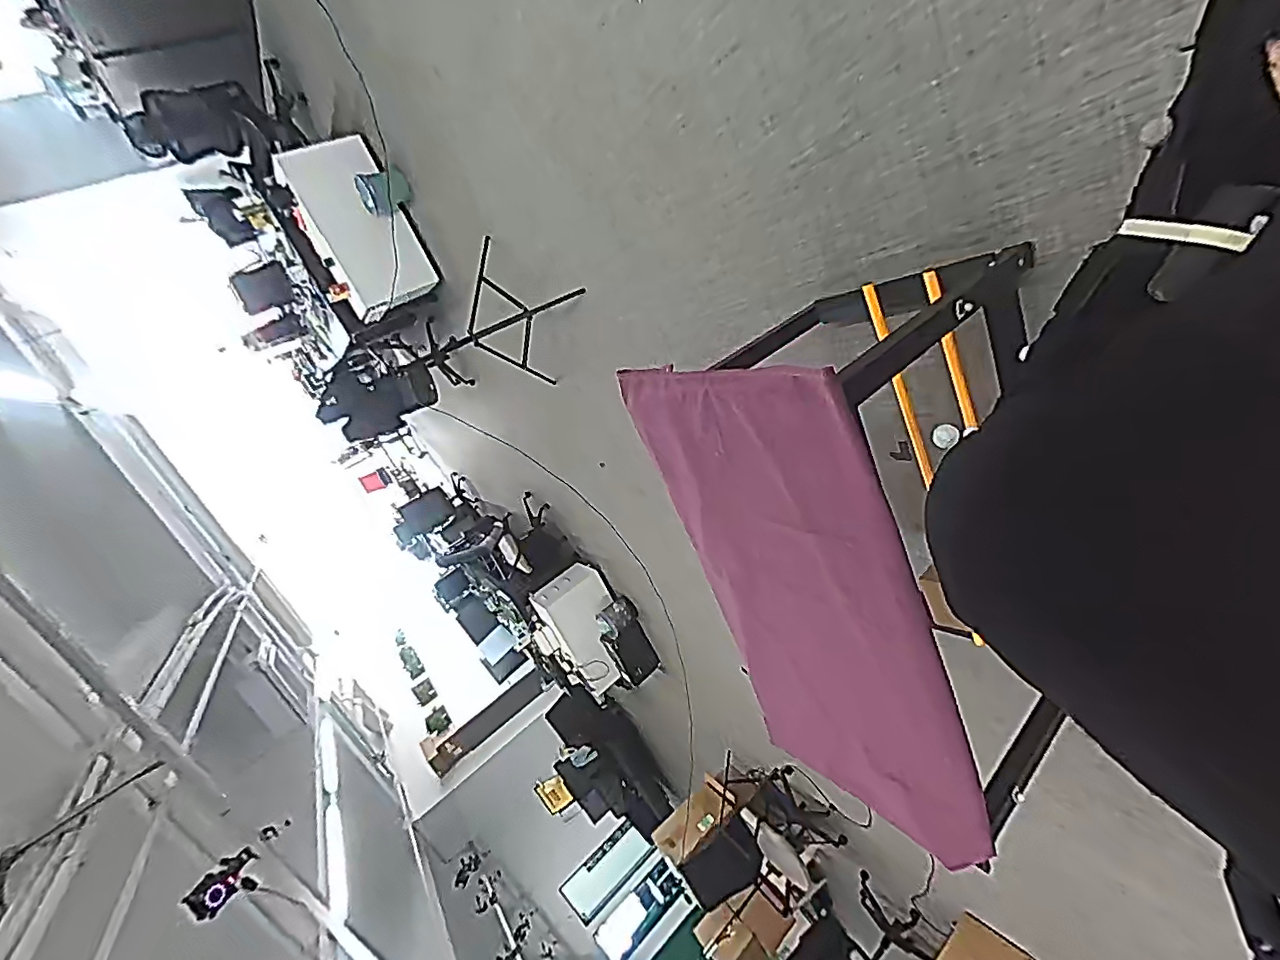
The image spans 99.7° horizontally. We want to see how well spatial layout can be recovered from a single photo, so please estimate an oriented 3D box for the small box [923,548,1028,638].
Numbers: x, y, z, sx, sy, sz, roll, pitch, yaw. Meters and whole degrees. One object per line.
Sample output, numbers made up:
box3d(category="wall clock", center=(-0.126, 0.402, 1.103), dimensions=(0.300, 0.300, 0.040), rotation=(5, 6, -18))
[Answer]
box3d(category="small box", center=(0.935, 0.306, 1.507), dimensions=(0.179, 0.176, 0.168), rotation=(0, 121, 58))
